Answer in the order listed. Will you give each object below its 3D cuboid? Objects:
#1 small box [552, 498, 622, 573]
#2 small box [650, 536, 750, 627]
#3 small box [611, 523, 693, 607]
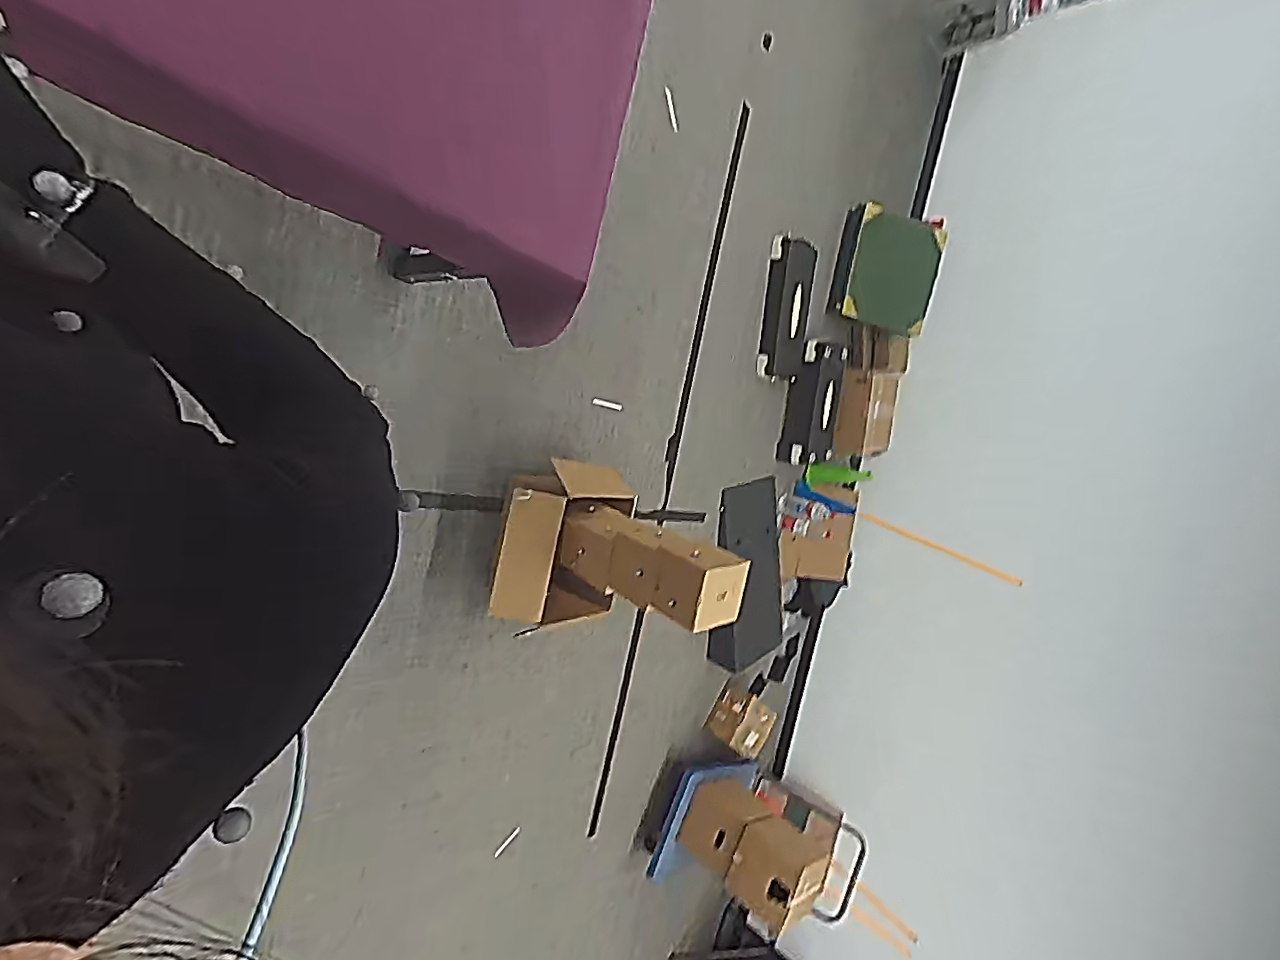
[{"bbox_3d":[-0.173,0.169,1.749,0.168,0.176,0.179,-20,119,-38],"label":"small box"},{"bbox_3d":[0.149,0.252,1.383,0.179,0.176,0.168,-2,107,-43],"label":"small box"},{"bbox_3d":[0.037,0.226,1.500,0.168,0.176,0.179,-3,107,-42],"label":"small box"}]
